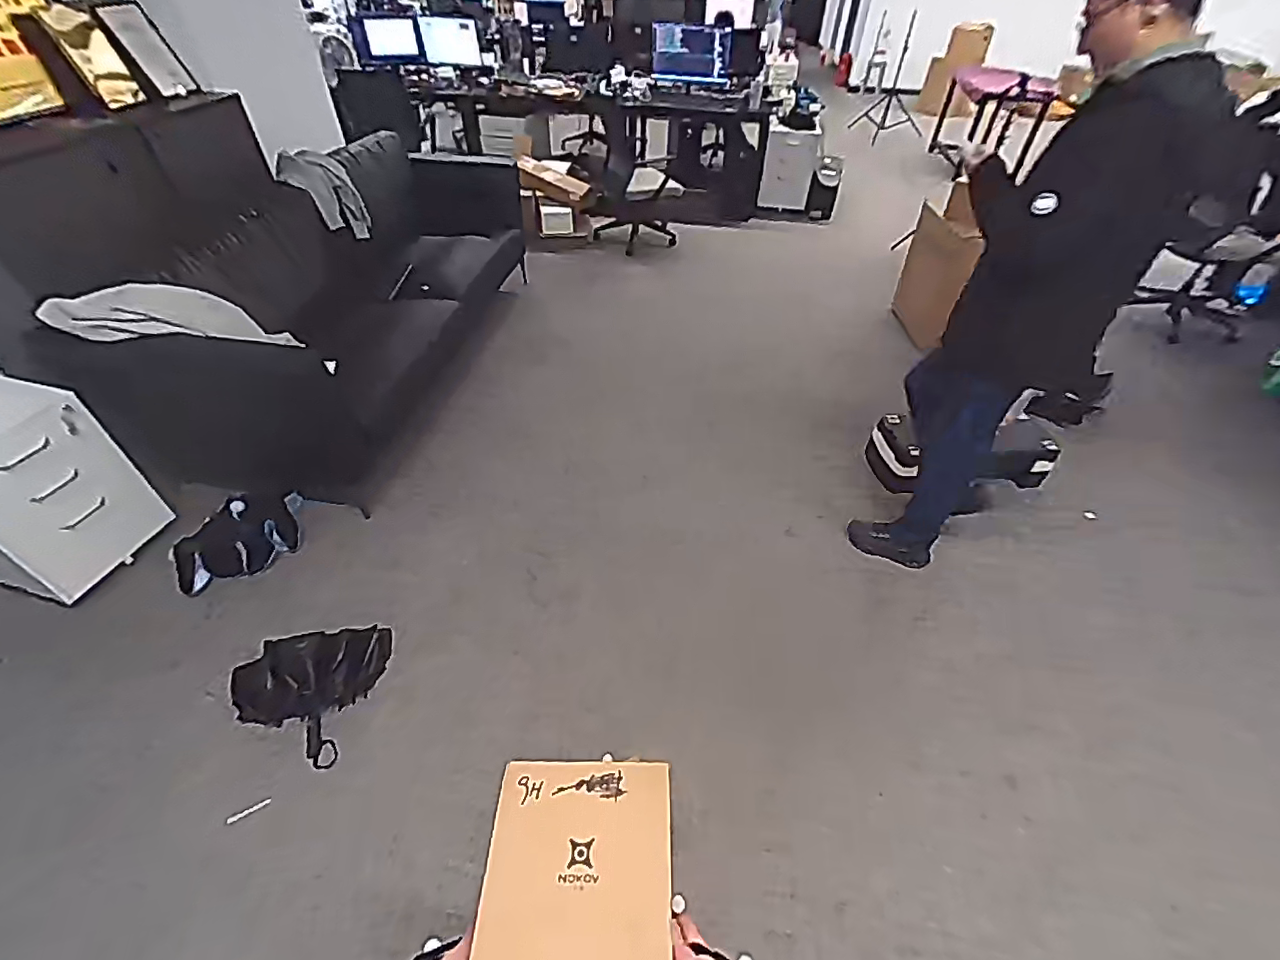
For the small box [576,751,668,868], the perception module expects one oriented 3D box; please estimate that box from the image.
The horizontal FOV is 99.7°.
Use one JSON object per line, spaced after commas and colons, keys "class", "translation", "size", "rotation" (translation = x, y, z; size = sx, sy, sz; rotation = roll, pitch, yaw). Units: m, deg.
{"class": "small box", "translation": [-0.045, 0.806, 1.315], "size": [0.168, 0.176, 0.179], "rotation": [-19, 46, -21]}
